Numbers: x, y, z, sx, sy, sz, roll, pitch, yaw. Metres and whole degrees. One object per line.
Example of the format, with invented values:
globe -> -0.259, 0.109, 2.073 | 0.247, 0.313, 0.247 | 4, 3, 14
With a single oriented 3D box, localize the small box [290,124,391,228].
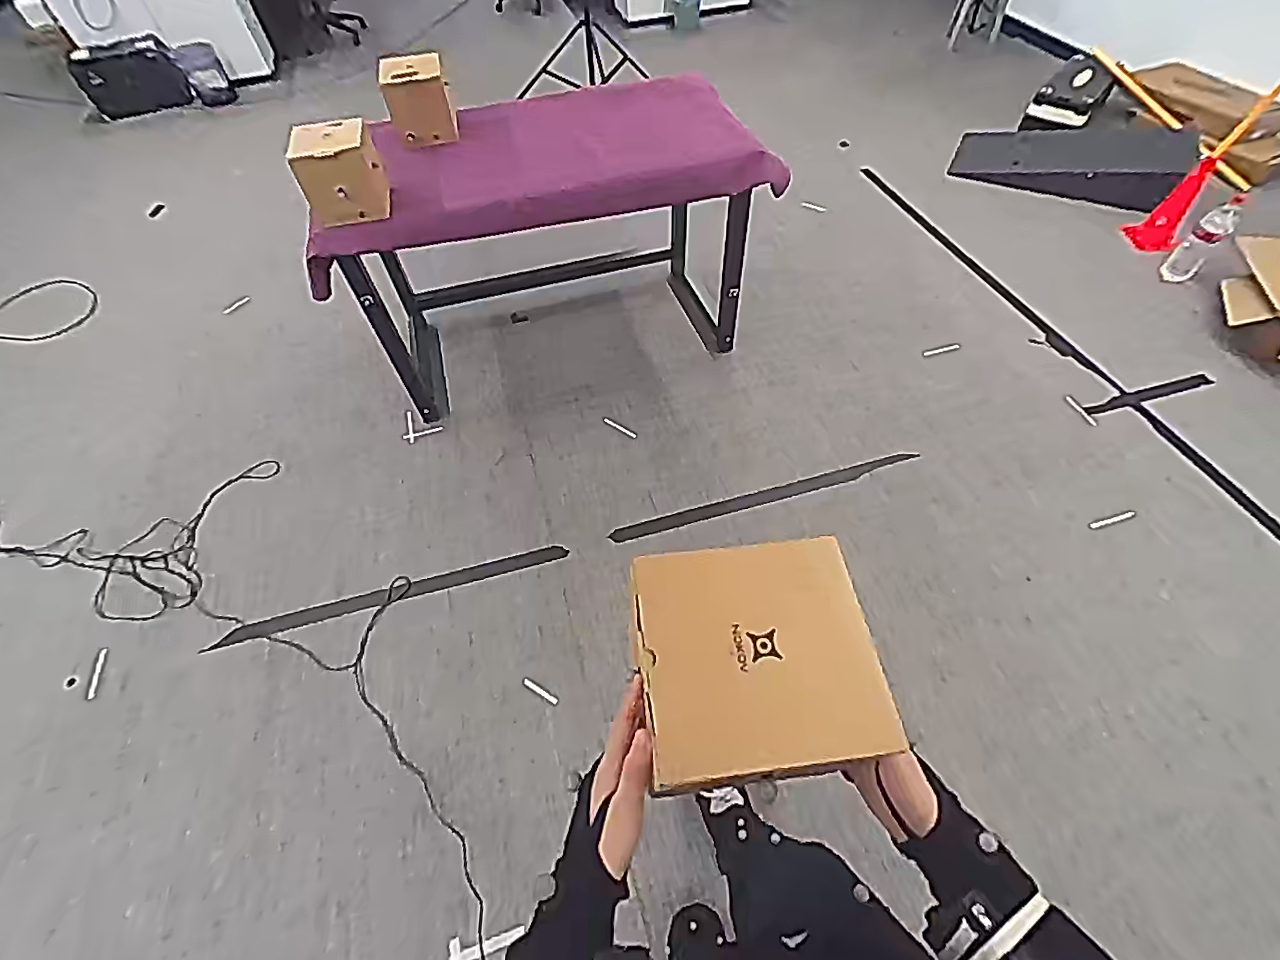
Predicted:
small box -> -0.732, -0.745, 1.341 | 0.168, 0.176, 0.179 | -13, 56, -7

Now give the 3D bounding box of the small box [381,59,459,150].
small box -> -0.636, -1.086, 1.574 | 0.168, 0.176, 0.179 | -13, 56, -7

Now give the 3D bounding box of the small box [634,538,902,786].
small box -> 0.088, 0.166, 0.477 | 0.179, 0.176, 0.168 | -6, 59, -3
